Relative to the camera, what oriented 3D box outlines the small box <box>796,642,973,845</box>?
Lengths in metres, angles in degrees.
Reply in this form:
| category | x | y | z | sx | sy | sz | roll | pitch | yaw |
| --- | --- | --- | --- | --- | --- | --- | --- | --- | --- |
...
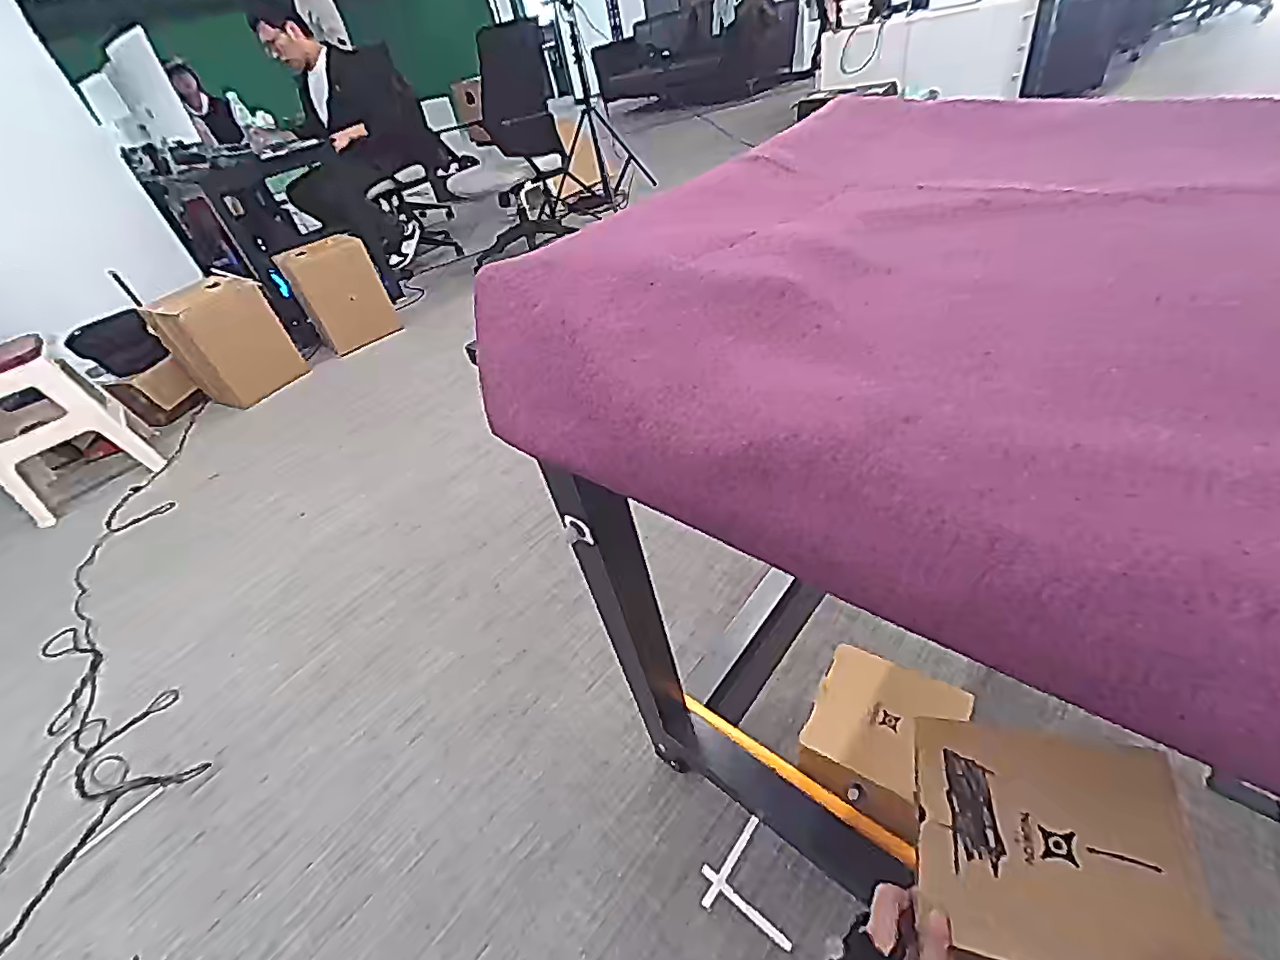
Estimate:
| category | x | y | z | sx | sy | sz | roll | pitch | yaw |
| --- | --- | --- | --- | --- | --- | --- | --- | --- | --- |
| small box | 0.329 | 0.364 | 0.745 | 0.179 | 0.176 | 0.168 | 16 | 48 | 31 |
